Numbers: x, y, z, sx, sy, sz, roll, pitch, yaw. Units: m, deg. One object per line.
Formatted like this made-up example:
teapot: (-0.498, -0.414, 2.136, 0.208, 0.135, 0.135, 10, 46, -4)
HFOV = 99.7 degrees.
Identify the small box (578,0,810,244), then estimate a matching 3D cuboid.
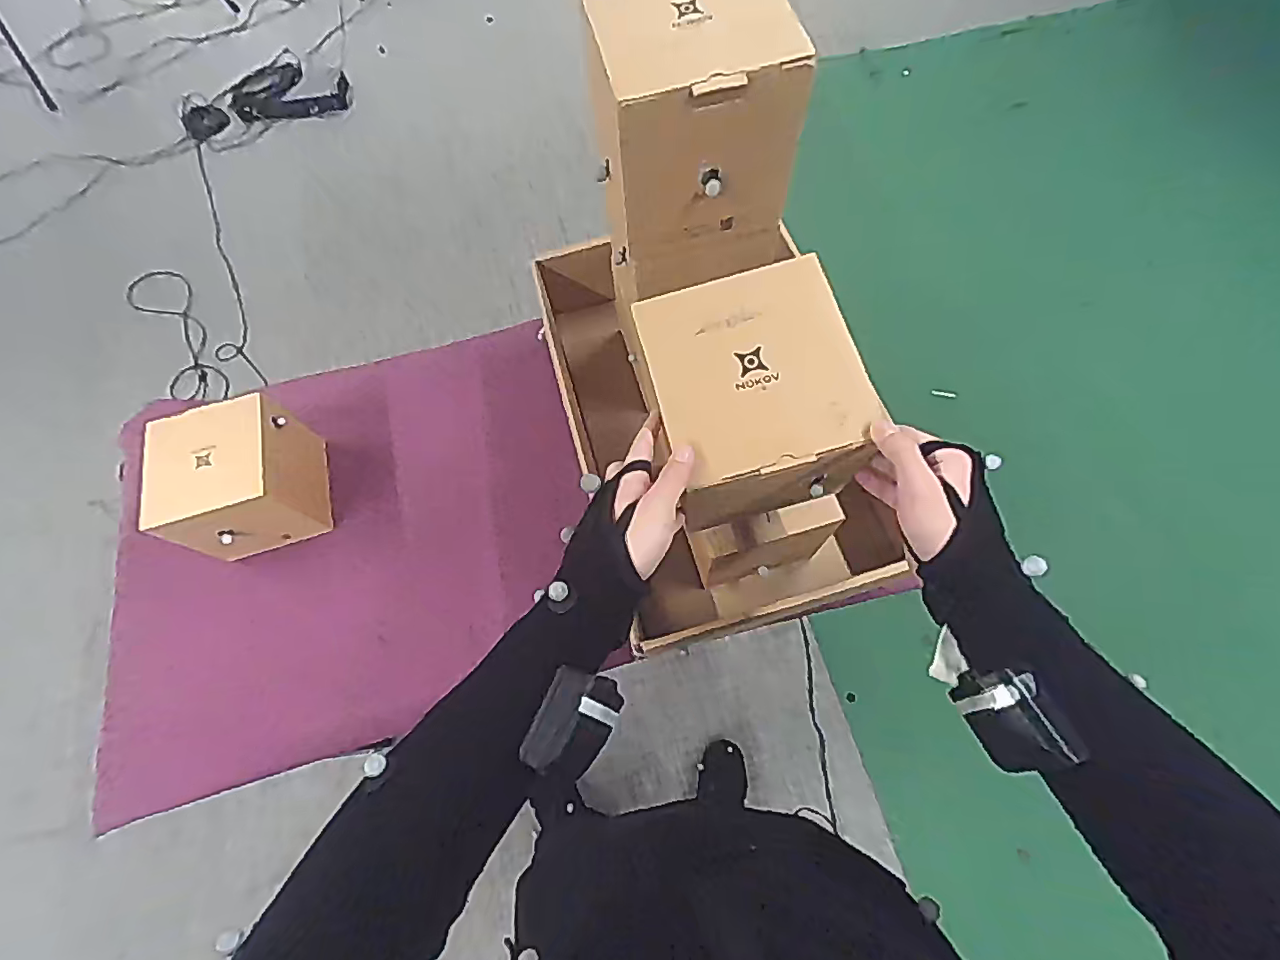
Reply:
small box: (0.045, -0.359, 0.532, 0.168, 0.176, 0.179, -13, 69, -2)

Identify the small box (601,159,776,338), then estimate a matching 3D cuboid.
small box: (0.056, -0.301, 0.684, 0.168, 0.176, 0.179, -14, 68, -3)

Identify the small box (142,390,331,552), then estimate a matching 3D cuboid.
small box: (-0.601, -0.003, 0.826, 0.168, 0.176, 0.179, -17, 66, -5)
